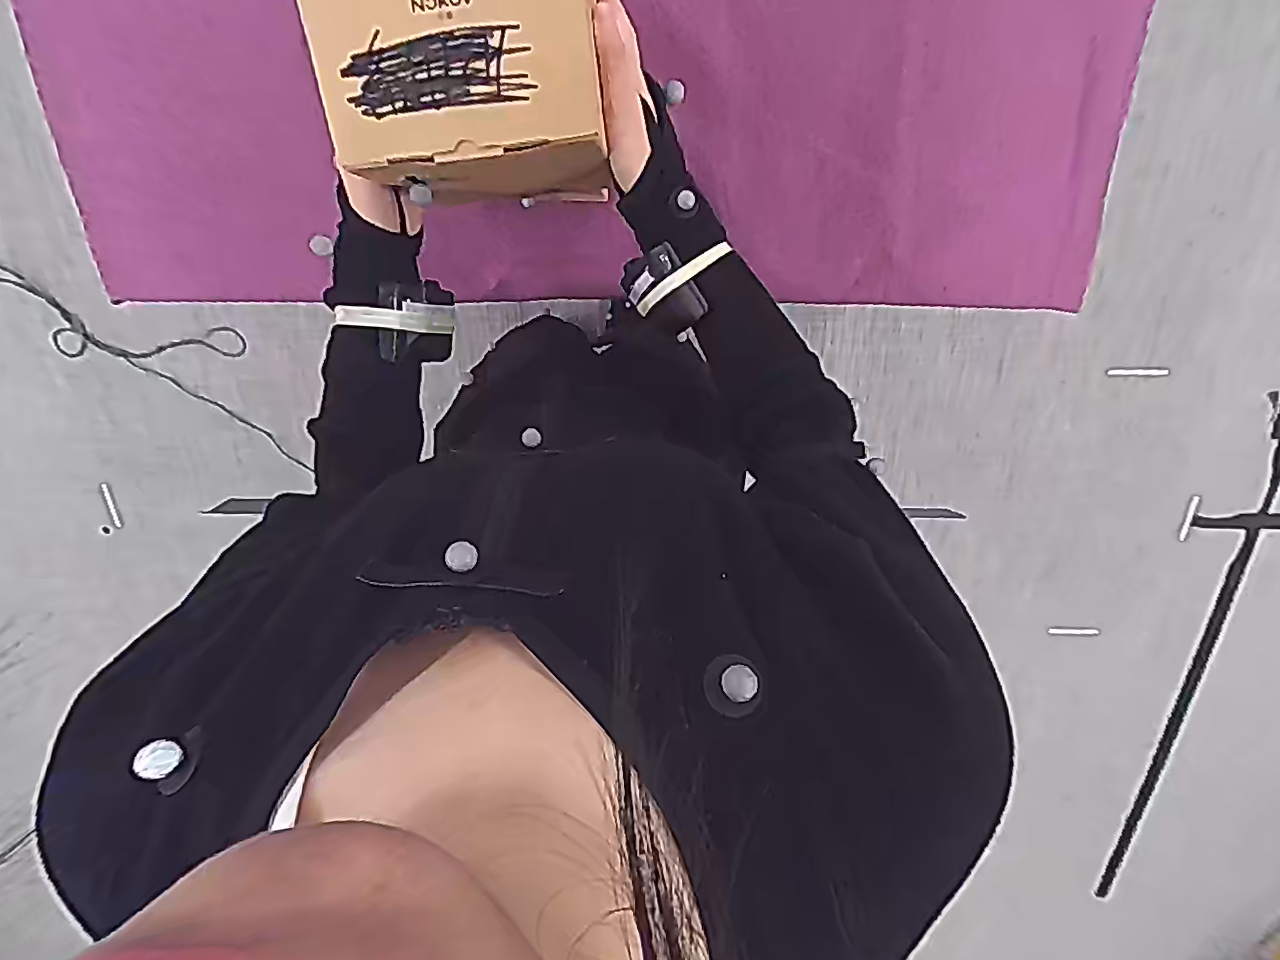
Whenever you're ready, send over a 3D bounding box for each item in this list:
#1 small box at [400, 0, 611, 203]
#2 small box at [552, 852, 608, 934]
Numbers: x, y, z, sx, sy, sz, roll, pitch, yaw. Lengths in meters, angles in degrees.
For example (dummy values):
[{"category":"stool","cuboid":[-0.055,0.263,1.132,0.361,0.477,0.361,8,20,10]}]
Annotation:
[{"category":"small box","cuboid":[-0.118,-0.388,0.533,0.168,0.176,0.179,2,109,1]},{"category":"small box","cuboid":[-0.212,1.494,1.961,0.168,0.176,0.179,-9,109,3]}]
